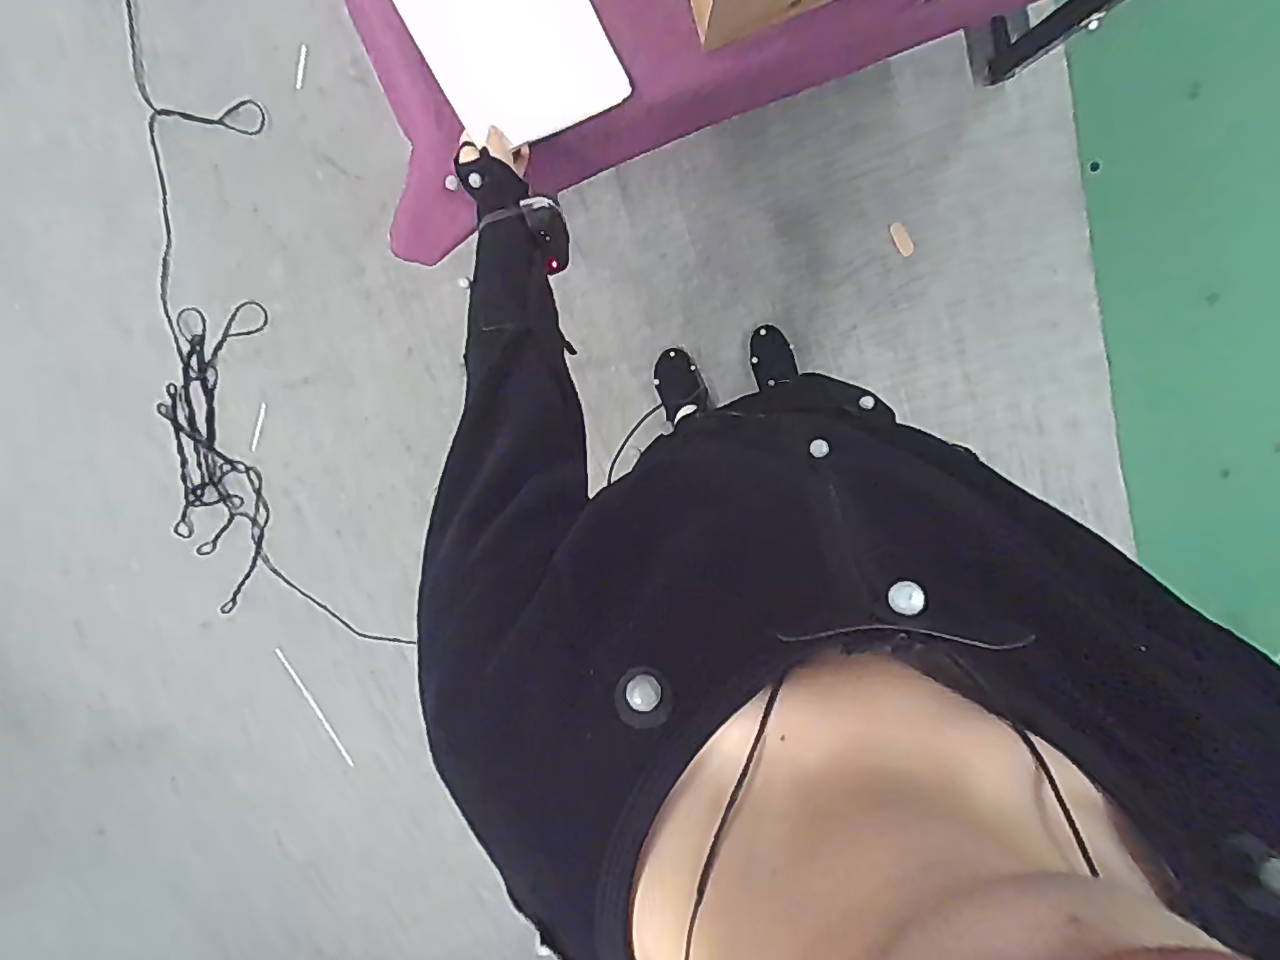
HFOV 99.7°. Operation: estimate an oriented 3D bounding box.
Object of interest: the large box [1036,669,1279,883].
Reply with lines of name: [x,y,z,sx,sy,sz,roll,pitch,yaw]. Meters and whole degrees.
large box: [1.491,0.838,1.567,0.408,0.320,0.320,-34,102,7]
